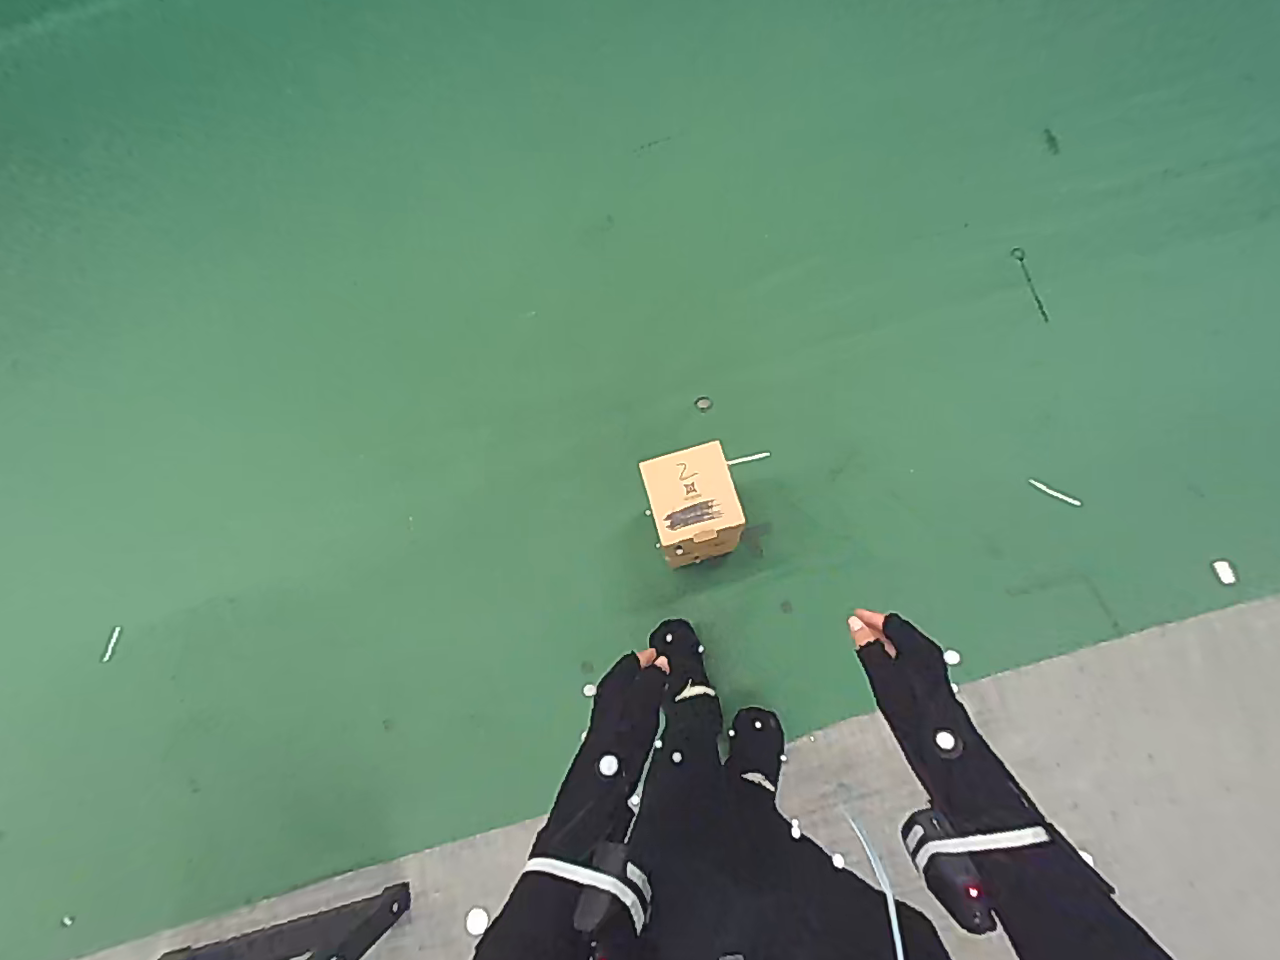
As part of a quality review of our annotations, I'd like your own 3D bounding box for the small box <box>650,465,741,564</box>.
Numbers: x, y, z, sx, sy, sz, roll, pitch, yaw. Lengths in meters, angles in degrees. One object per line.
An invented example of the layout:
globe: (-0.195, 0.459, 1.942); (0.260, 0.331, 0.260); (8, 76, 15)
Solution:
small box: (0.127, 0.088, 1.277); (0.168, 0.176, 0.179); (-16, 75, 1)
